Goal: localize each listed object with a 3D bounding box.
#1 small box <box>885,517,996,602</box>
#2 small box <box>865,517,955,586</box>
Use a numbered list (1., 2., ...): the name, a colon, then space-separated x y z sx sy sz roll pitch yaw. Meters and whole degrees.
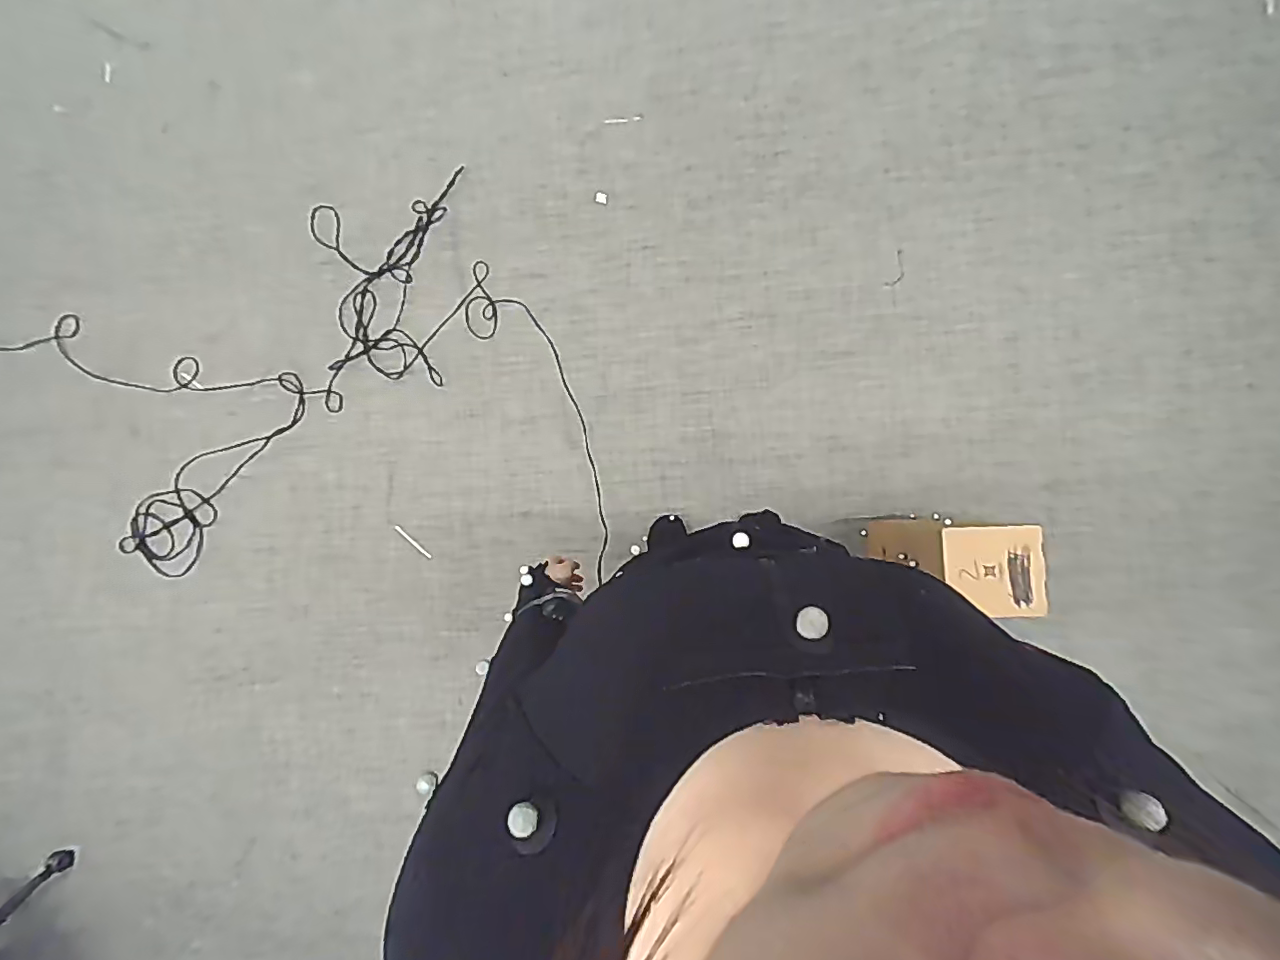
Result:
1. small box: 0.668 0.174 1.220 0.168 0.176 0.179 -2 88 6
2. small box: 0.688 0.179 1.383 0.179 0.176 0.168 -3 87 4
